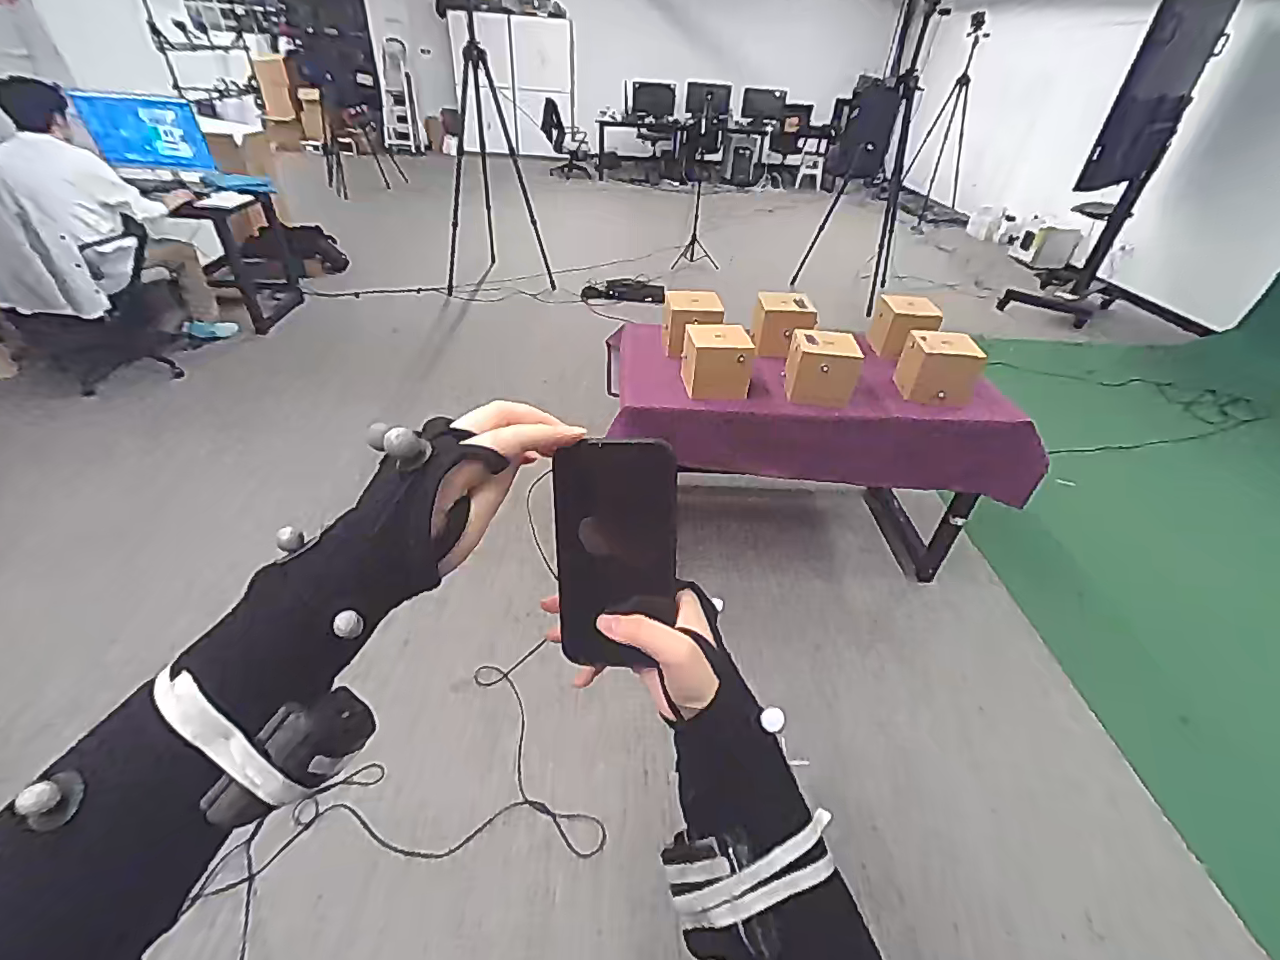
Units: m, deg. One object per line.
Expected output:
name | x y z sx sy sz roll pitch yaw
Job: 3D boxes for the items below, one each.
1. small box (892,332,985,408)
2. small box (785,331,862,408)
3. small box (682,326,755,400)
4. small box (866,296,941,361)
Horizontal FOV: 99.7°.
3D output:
small box | 0.908 -0.337 1.663 0.179 0.176 0.168 7 38 3
small box | 0.539 -0.329 1.620 0.179 0.176 0.168 7 38 2
small box | 0.226 -0.349 1.619 0.179 0.176 0.168 -1 38 -8
small box | 0.921 -0.531 1.909 0.168 0.176 0.179 4 39 1
